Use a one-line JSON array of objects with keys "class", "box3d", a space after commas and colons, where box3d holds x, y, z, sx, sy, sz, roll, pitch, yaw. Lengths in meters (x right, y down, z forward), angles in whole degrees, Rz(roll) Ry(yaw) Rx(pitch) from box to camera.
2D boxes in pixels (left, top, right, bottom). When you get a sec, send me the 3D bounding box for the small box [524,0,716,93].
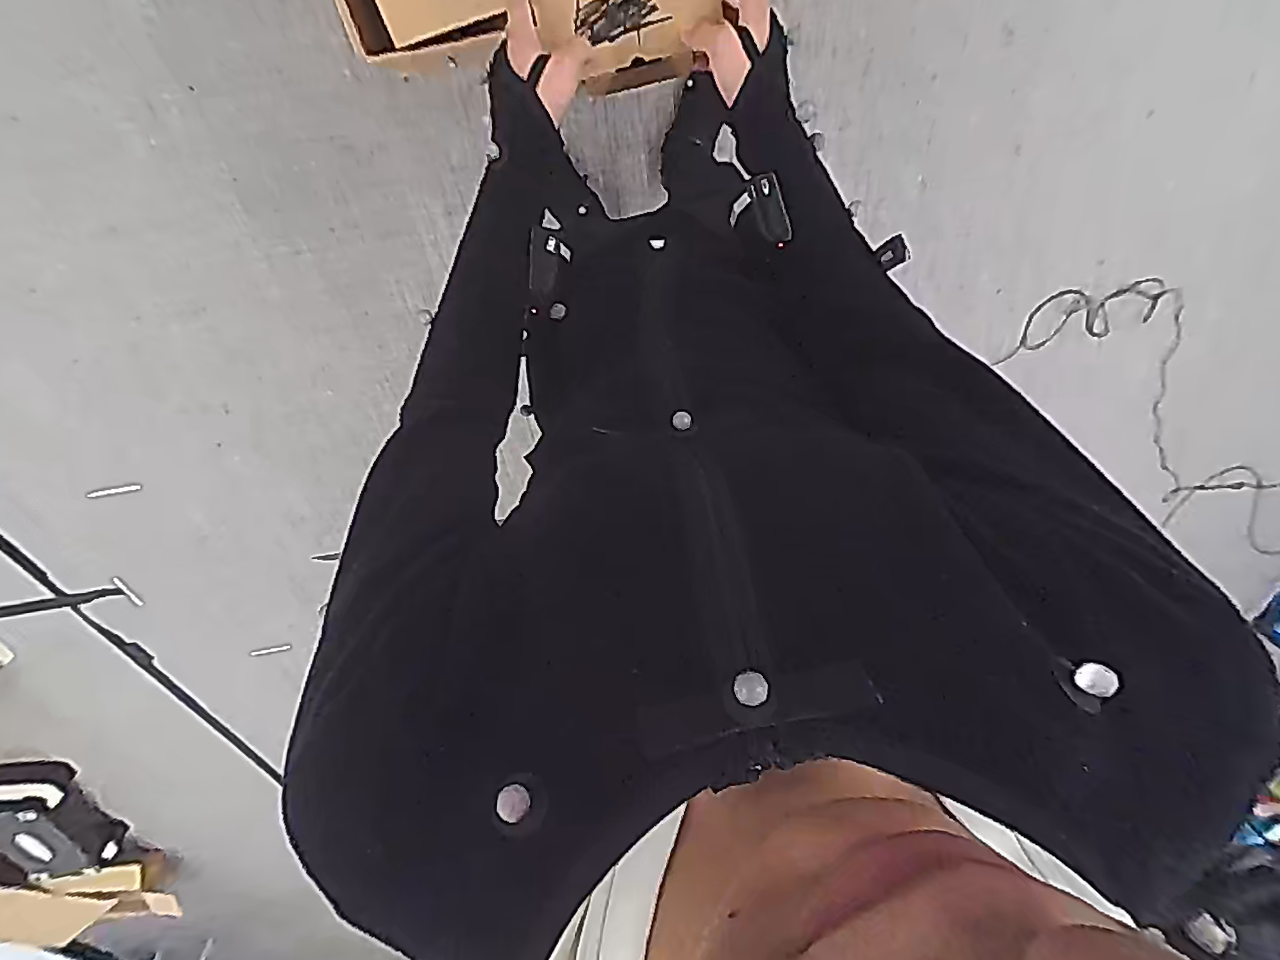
[{"class": "small box", "box3d": [-0.028, -0.495, 0.520, 0.168, 0.176, 0.179, -12, 123, 5]}]
